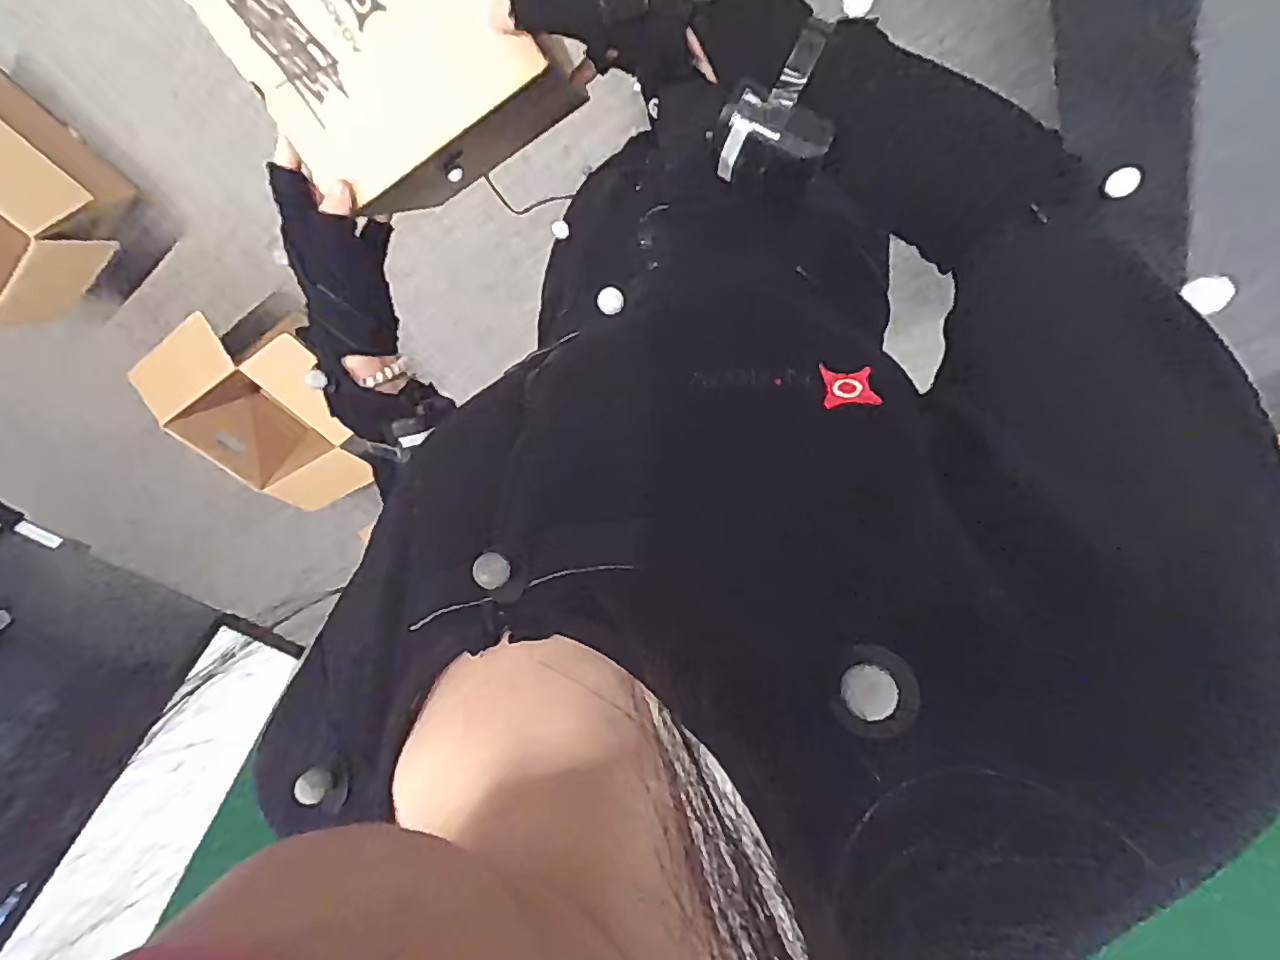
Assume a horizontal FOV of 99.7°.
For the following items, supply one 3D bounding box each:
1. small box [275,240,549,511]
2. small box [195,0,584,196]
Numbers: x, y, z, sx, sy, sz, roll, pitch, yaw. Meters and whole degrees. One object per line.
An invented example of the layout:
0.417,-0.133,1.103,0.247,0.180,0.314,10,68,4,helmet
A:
-0.202,-0.072,0.474,0.168,0.179,0.176,-4,176,-45,small box
-0.159,-0.320,0.374,0.179,0.176,0.168,-24,115,16,small box
